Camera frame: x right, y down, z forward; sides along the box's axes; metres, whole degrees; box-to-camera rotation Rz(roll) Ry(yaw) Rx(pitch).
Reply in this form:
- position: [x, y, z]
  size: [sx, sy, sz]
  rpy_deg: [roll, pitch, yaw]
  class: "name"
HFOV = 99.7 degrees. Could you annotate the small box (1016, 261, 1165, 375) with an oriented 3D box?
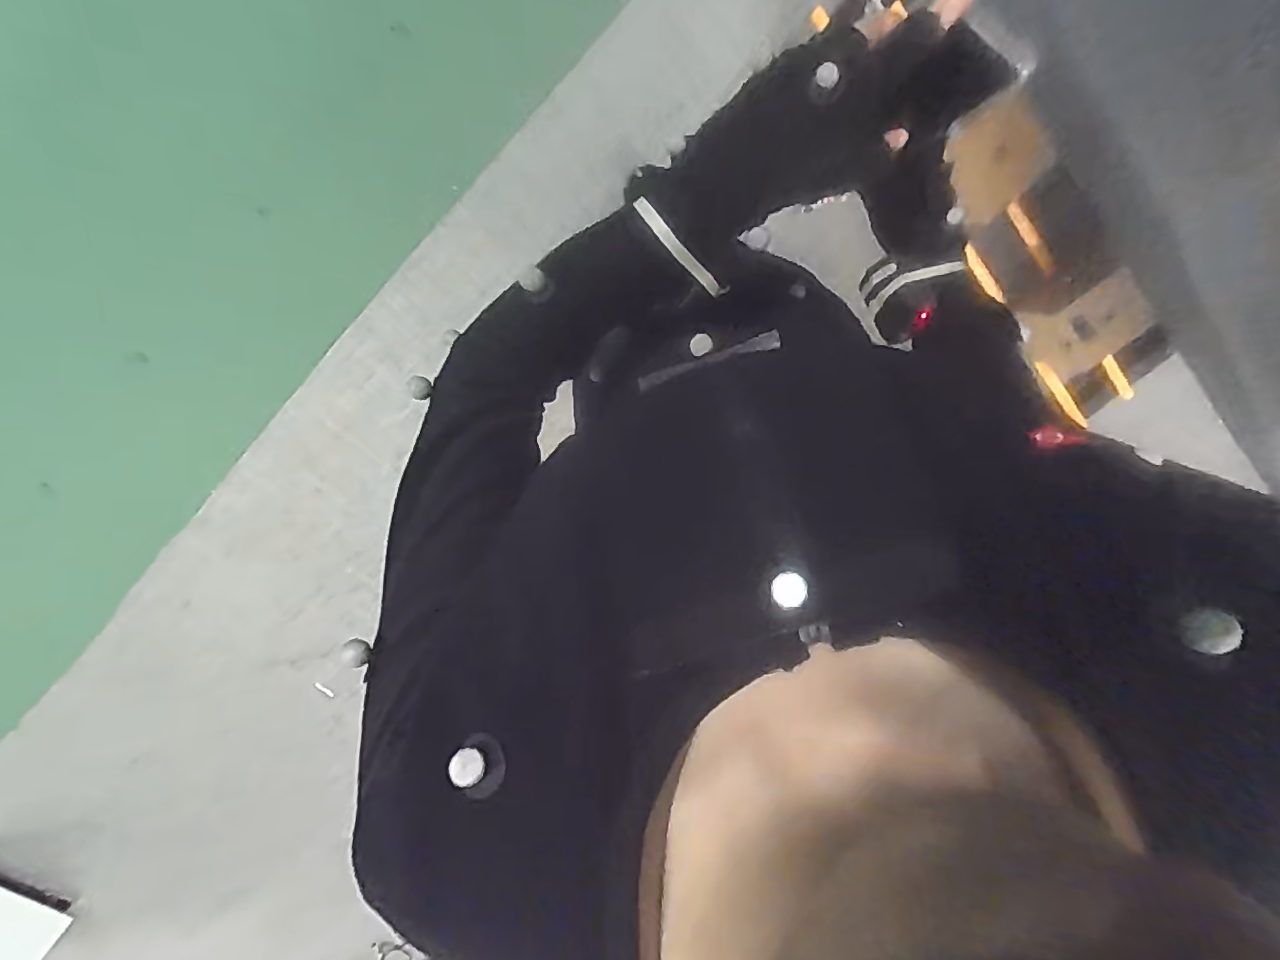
- position: [0.991, -0.365, 1.212]
  size: [0.179, 0.176, 0.168]
  rpy_deg: [-39, 109, 13]
  class: "small box"
